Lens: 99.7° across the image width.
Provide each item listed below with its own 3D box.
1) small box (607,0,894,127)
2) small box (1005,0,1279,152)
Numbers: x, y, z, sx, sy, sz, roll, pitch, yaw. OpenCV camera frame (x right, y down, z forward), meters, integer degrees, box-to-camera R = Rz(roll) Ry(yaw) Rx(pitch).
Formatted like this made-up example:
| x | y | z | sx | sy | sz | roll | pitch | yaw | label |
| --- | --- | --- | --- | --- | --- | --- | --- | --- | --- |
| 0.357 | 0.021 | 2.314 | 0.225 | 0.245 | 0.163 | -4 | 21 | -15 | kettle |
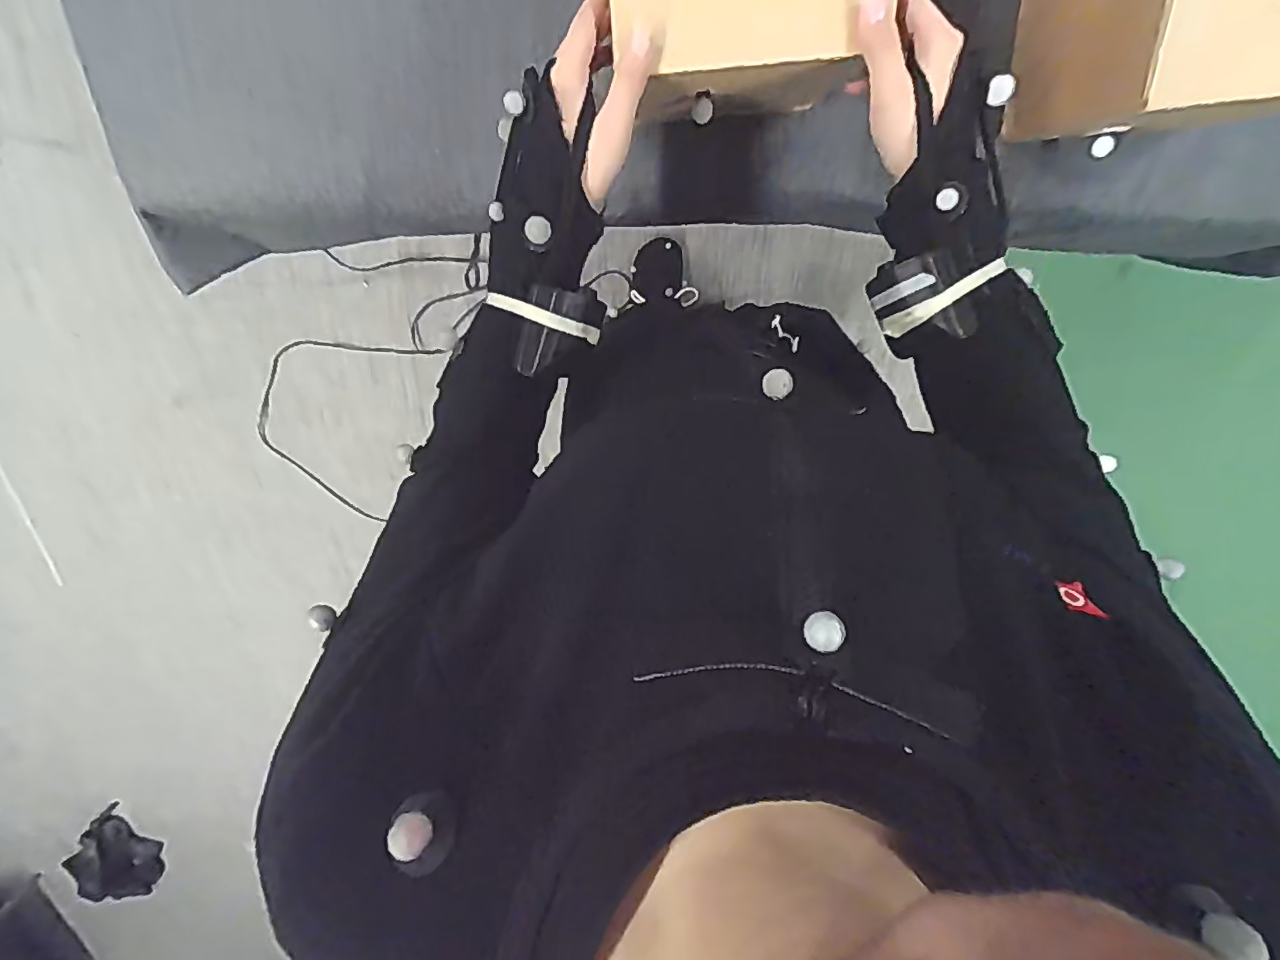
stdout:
| x | y | z | sx | sy | sz | roll | pitch | yaw | label |
| --- | --- | --- | --- | --- | --- | --- | --- | --- | --- |
| 0.060 | -0.351 | 0.360 | 0.168 | 0.176 | 0.179 | -5 | 114 | 2 | small box |
| 0.394 | -0.349 | 0.378 | 0.168 | 0.176 | 0.179 | -4 | 115 | 4 | small box |
